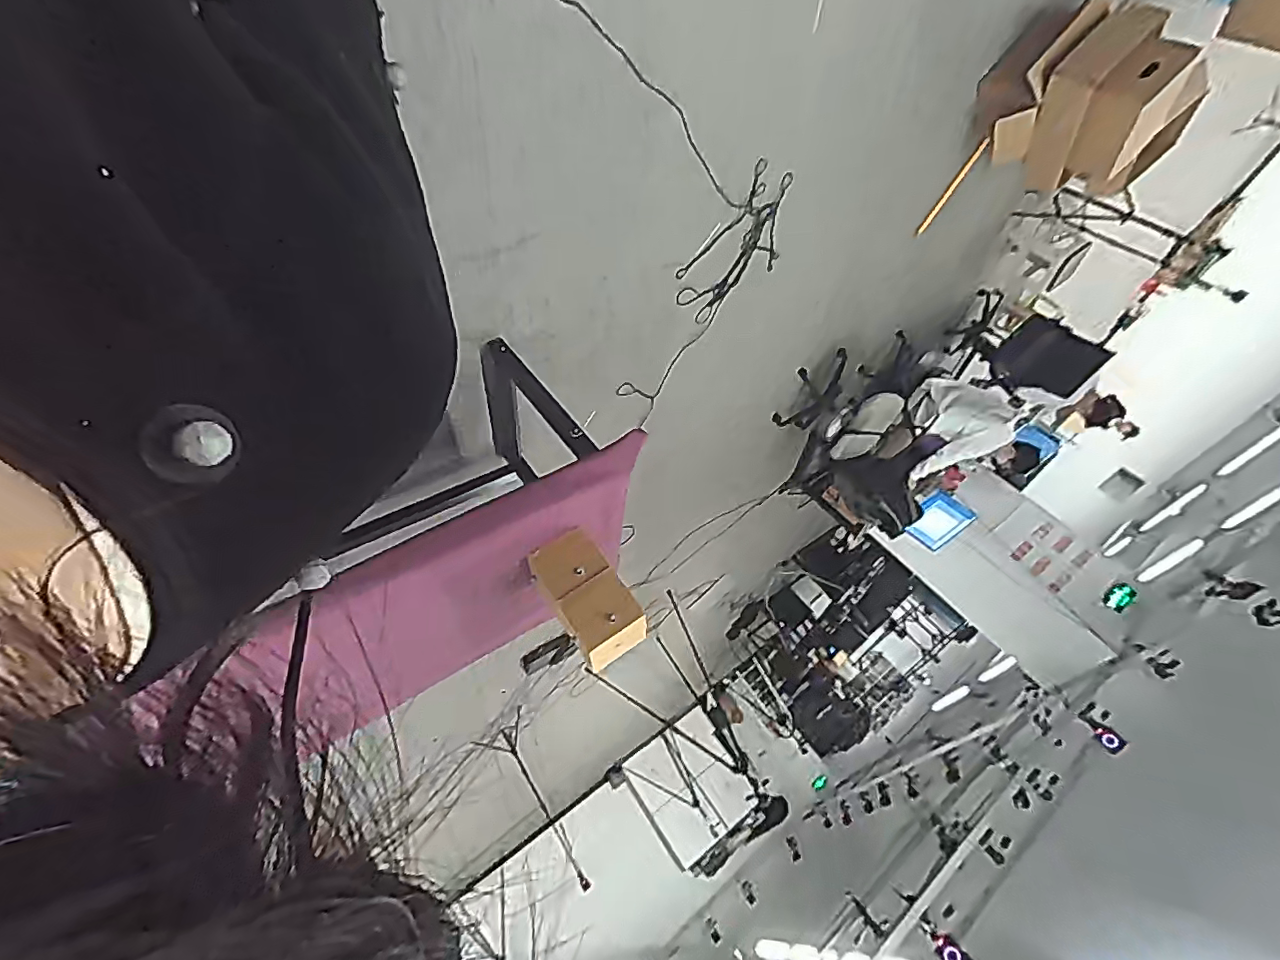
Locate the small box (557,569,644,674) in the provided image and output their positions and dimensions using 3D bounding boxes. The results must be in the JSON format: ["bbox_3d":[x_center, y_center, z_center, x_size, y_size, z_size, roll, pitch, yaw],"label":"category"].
[{"bbox_3d":[-0.106,0.371,1.431,0.179,0.176,0.168,-31,148,-21],"label":"small box"}]

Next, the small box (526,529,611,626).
[{"bbox_3d":[-0.198,0.267,1.513,0.179,0.176,0.168,-29,148,-22],"label":"small box"}]
